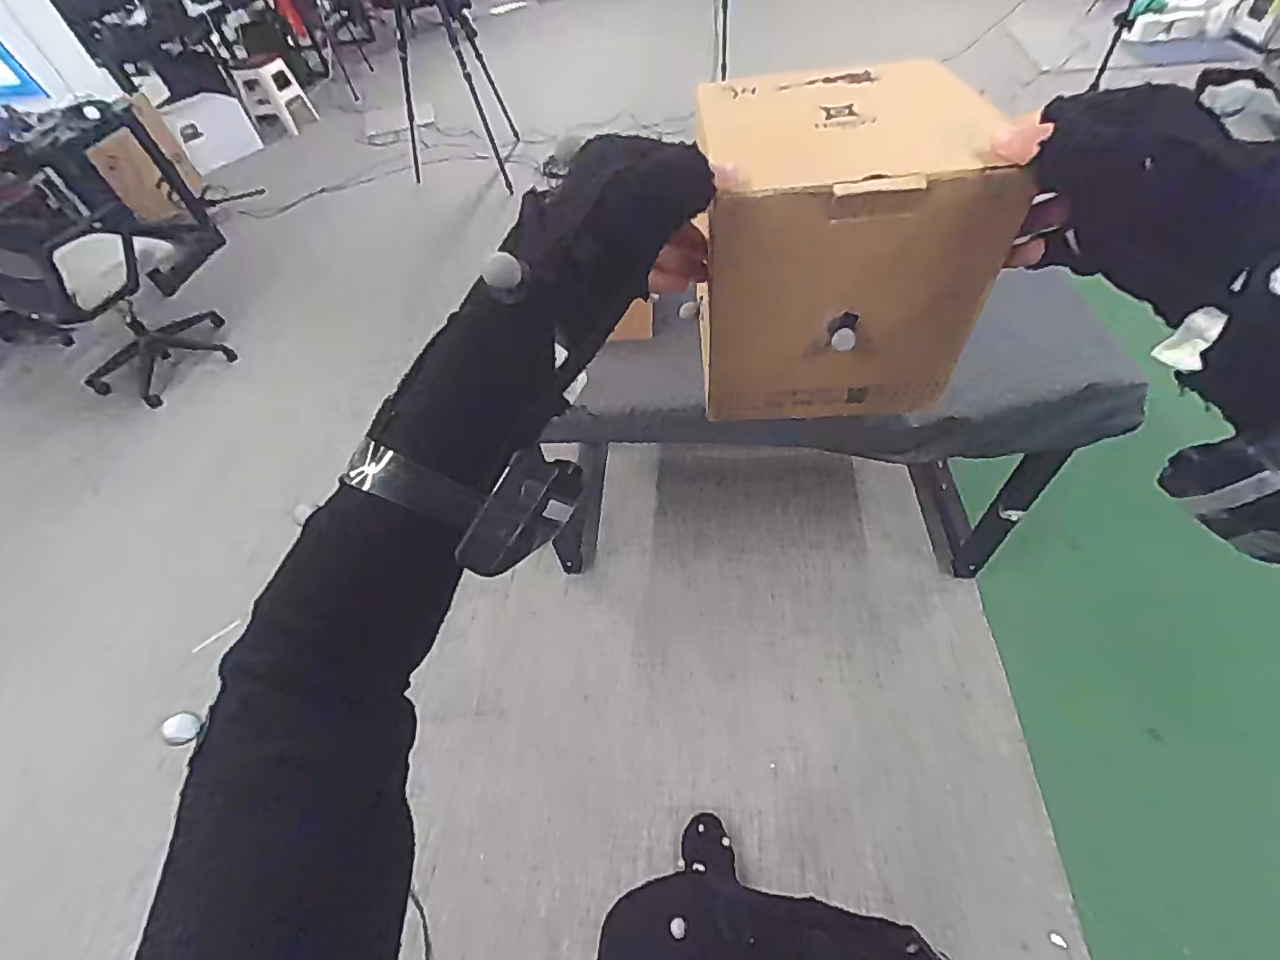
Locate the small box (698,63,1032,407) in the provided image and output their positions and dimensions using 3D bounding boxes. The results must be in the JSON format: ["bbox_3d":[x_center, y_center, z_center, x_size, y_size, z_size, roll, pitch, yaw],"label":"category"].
[{"bbox_3d":[0.128,-0.166,0.392,0.168,0.176,0.179,-2,52,5],"label":"small box"}]

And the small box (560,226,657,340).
[{"bbox_3d":[-0.058,-0.413,1.147,0.179,0.176,0.168,-1,52,5],"label":"small box"}]
